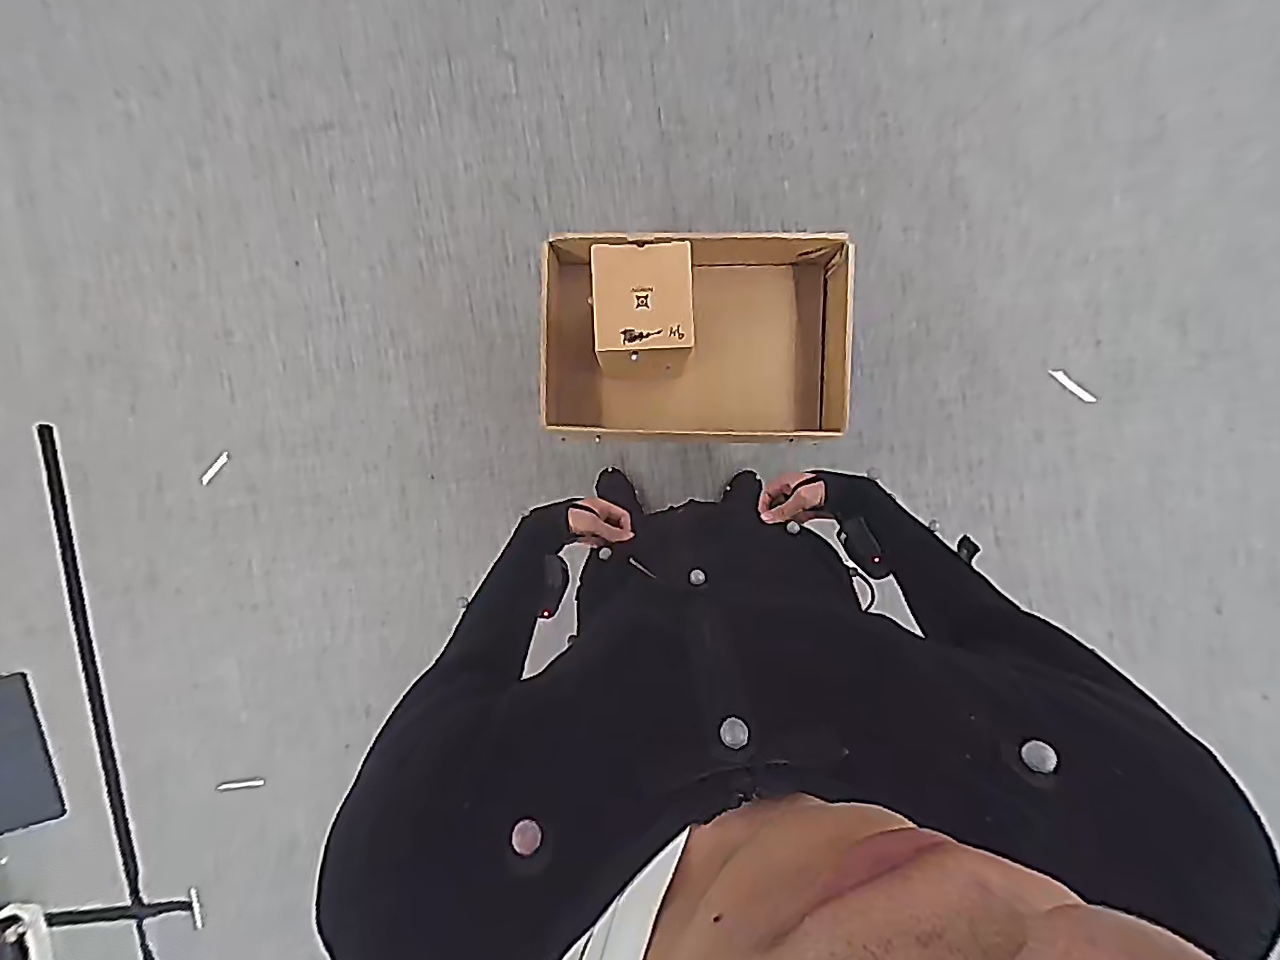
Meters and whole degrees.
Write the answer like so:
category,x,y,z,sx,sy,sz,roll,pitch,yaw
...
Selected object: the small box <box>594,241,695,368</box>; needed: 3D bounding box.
category,x,y,z,sx,sy,sz,roll,pitch,yaw
small box,0.006,-0.304,0.962,0.168,0.176,0.179,-2,92,0
